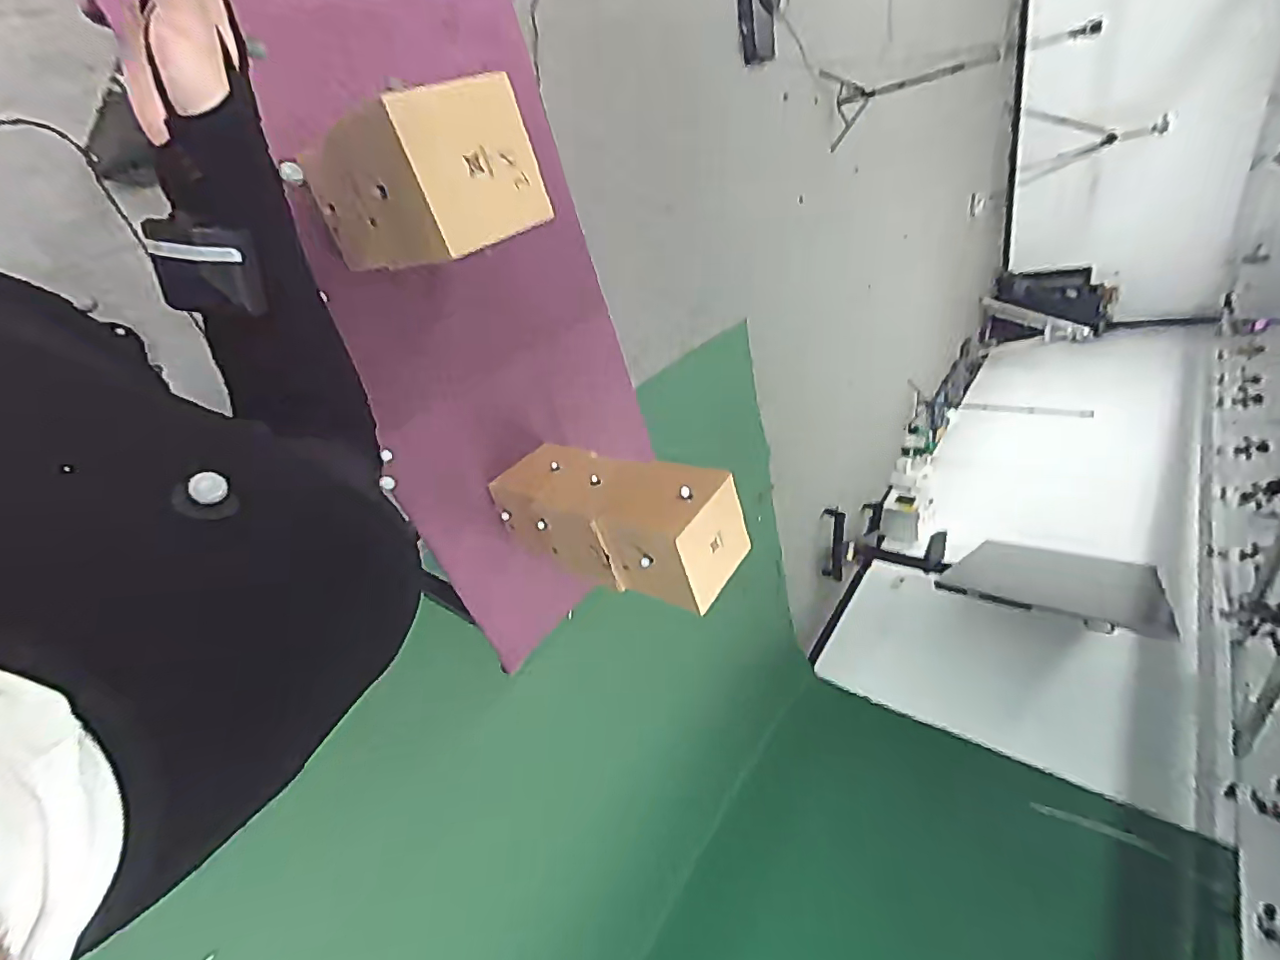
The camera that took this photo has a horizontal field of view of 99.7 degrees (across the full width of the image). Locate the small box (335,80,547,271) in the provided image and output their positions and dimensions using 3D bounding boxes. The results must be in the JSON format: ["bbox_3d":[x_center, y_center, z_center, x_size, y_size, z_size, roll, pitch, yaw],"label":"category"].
[{"bbox_3d":[-0.258,-0.381,0.695,0.179,0.176,0.168,-42,129,-34],"label":"small box"}]

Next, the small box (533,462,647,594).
[{"bbox_3d":[-0.077,0.082,1.020,0.179,0.176,0.168,-44,128,-36],"label":"small box"}]

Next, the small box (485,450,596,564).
[{"bbox_3d":[-0.188,0.050,1.137,0.179,0.176,0.168,-40,126,-37],"label":"small box"}]

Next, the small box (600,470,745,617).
[{"bbox_3d":[0.052,0.099,0.923,0.179,0.176,0.168,-46,129,-36],"label":"small box"}]
